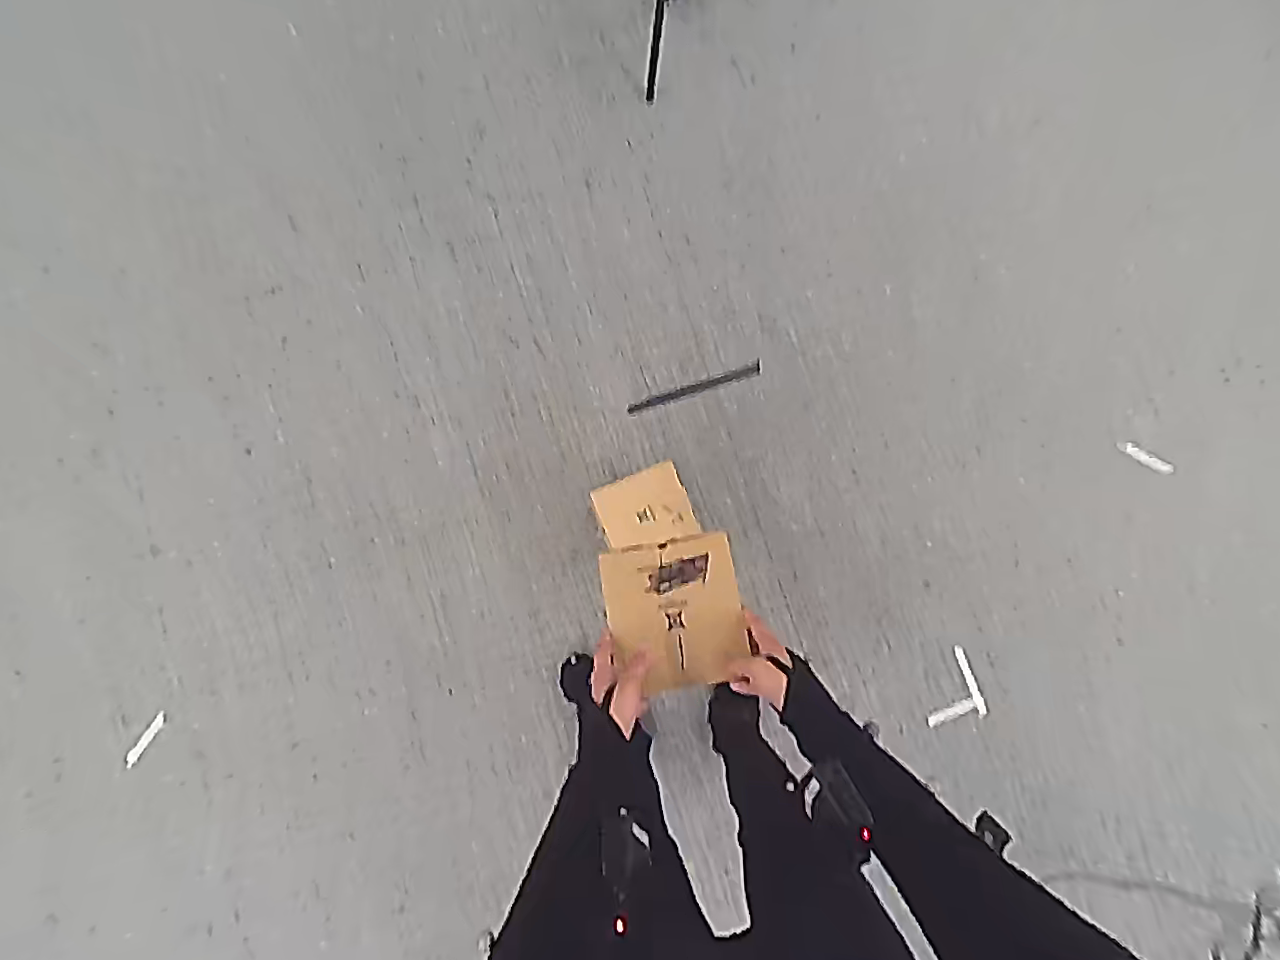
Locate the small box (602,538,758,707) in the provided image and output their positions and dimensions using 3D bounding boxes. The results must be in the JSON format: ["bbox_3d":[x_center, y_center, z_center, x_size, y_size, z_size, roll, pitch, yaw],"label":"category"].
[{"bbox_3d":[0.044,0.186,0.725,0.168,0.176,0.179,-10,78,-2],"label":"small box"}]

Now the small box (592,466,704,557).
[{"bbox_3d":[0.013,0.087,1.123,0.179,0.176,0.168,-22,85,-5],"label":"small box"}]
